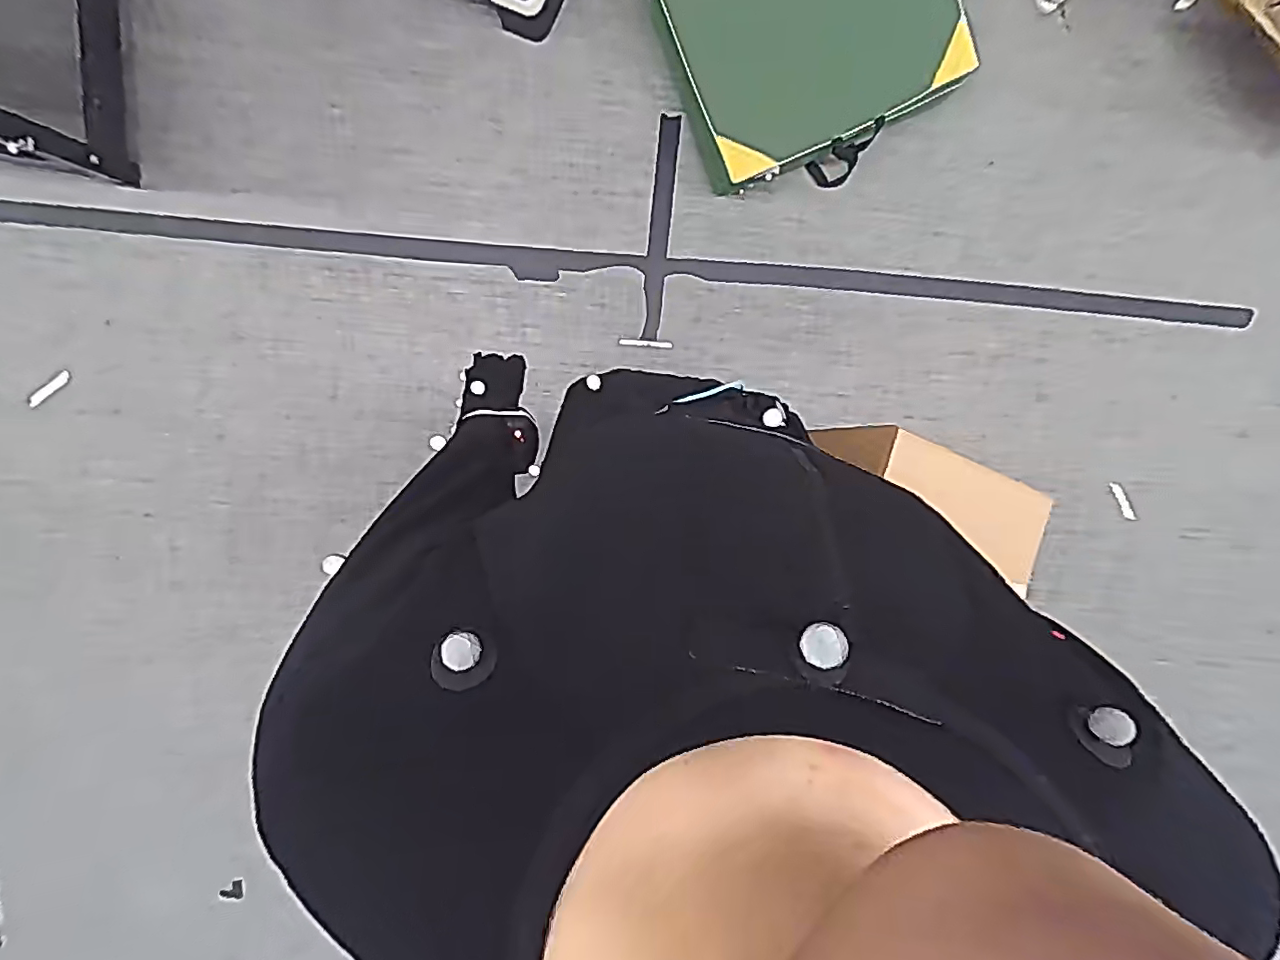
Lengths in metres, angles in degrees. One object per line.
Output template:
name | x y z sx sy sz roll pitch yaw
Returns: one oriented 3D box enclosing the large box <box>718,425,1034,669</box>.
large box | 0.396 0.104 0.995 0.320 0.408 0.320 20 88 -14
